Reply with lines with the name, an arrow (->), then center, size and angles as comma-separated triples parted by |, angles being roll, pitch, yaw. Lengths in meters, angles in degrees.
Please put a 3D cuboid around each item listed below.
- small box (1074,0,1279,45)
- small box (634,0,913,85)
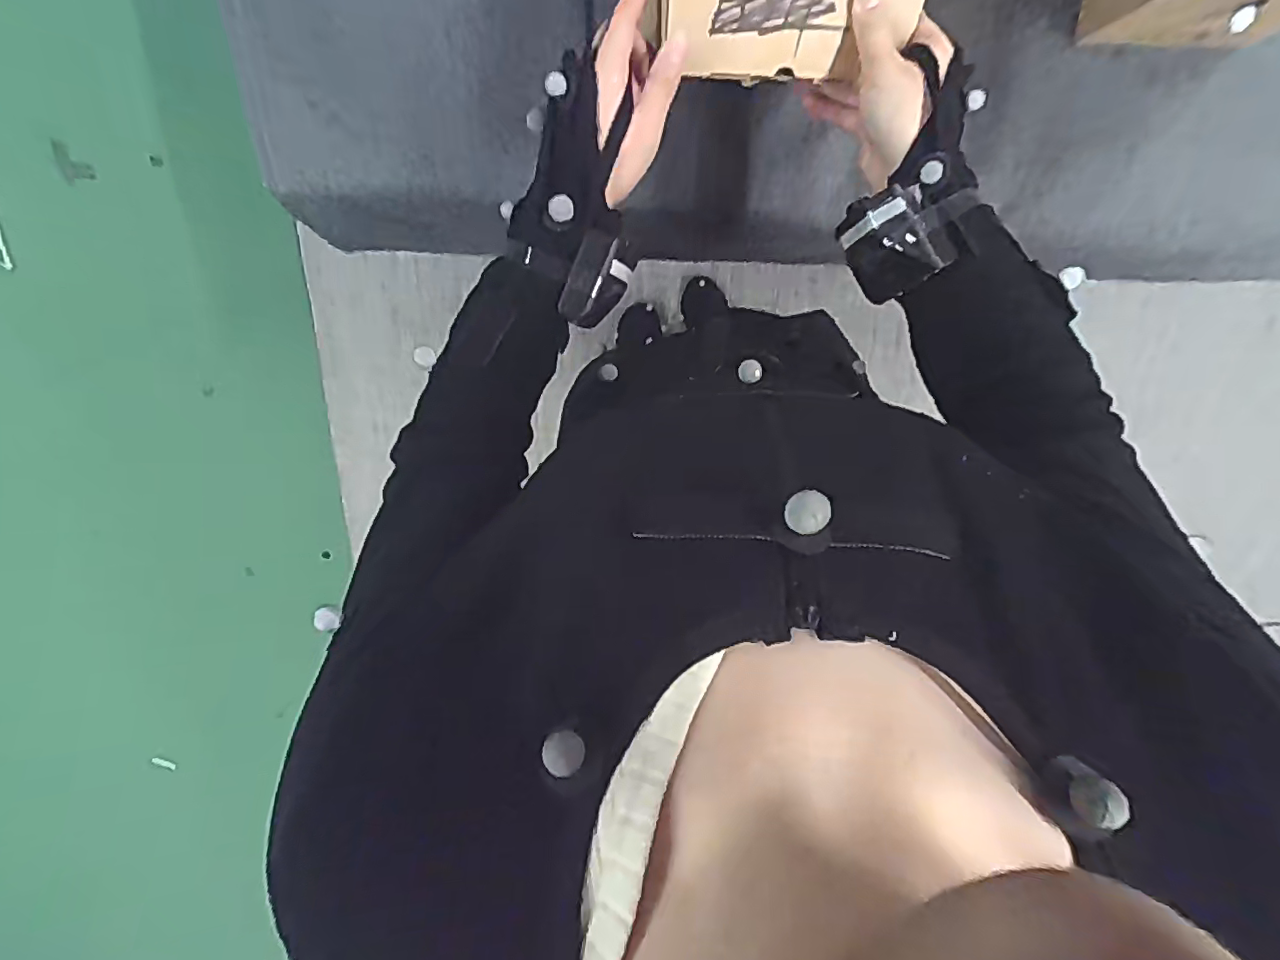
small box -> 0.475, -0.456, 0.399 | 0.168, 0.176, 0.179 | 0, 109, -1
small box -> 0.088, -0.389, 0.369 | 0.168, 0.176, 0.179 | -2, 129, -7
